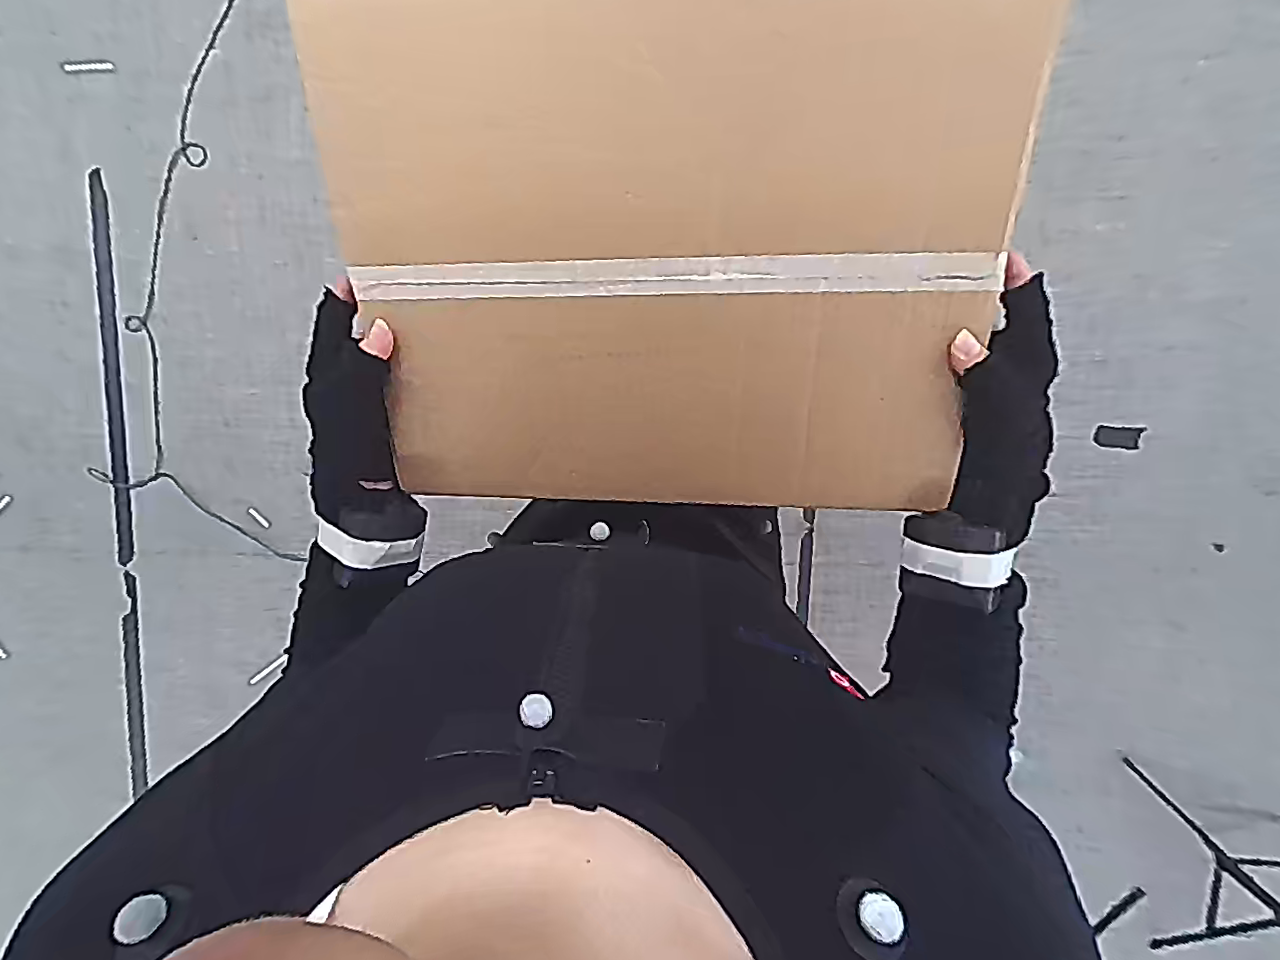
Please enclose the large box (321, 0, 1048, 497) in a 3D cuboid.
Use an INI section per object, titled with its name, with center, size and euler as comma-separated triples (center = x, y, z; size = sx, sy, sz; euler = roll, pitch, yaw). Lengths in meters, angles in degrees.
[large box]
center = 0.029, -0.190, 0.485
size = 0.408, 0.320, 0.320
euler = 1, 116, 6
